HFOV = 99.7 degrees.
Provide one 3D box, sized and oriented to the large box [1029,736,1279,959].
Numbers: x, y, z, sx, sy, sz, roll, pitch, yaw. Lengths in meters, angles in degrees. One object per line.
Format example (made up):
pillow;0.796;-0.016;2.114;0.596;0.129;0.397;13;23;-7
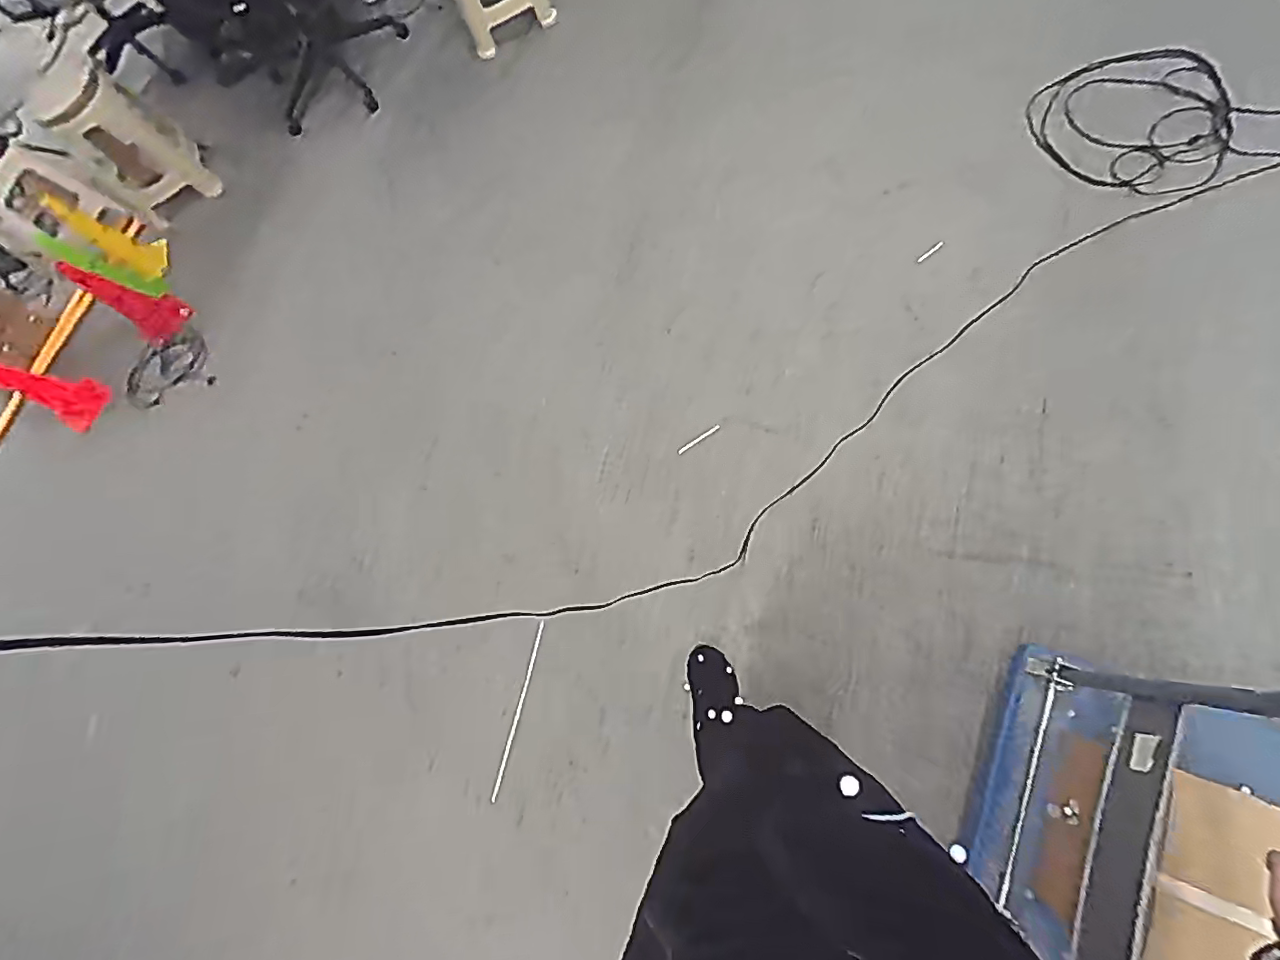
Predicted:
large box;0.943;0.666;0.871;0.408;0.320;0.320;18;80;16
